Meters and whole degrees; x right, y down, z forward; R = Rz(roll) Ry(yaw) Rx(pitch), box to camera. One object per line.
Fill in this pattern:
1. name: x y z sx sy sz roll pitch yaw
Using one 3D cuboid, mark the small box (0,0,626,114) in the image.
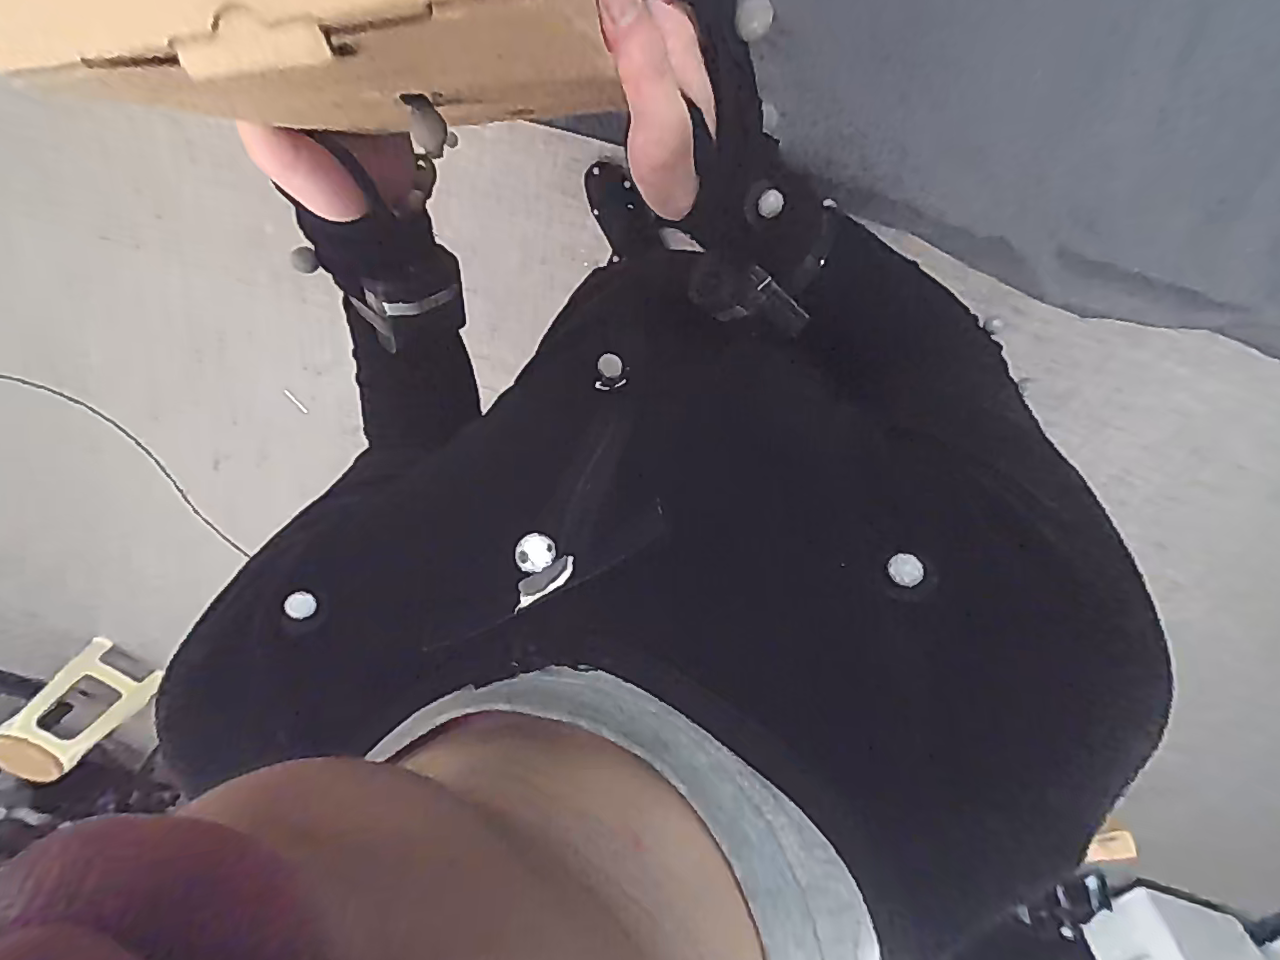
1. small box: -0.101 -0.221 0.161 0.168 0.176 0.179 -1 120 8
